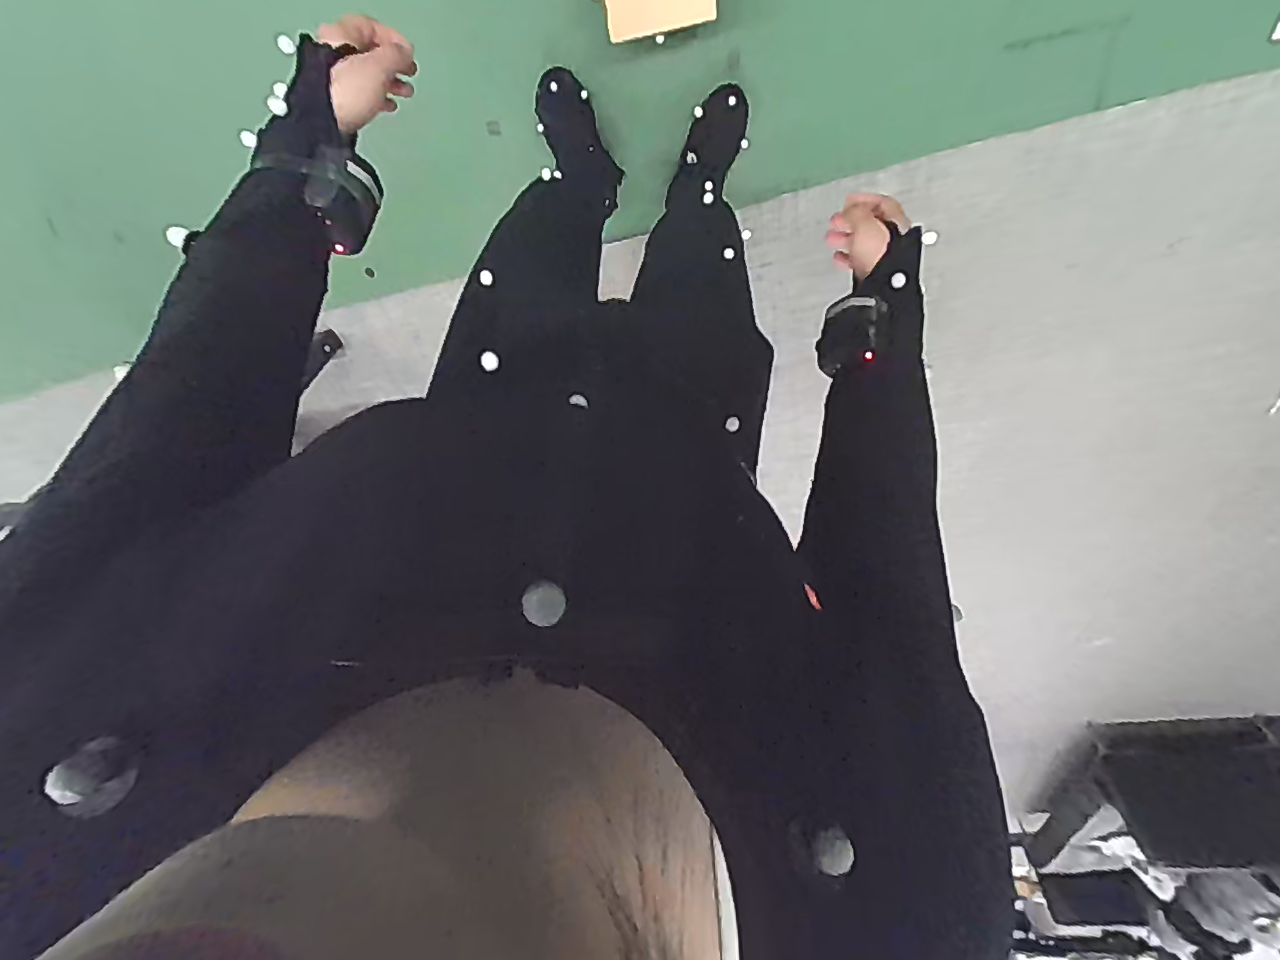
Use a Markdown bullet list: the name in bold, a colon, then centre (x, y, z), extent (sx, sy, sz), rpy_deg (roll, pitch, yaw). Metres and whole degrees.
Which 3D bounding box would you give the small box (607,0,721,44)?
- **small box**: centre (0.031, -0.833, 0.865), extent (0.179, 0.176, 0.168), rpy_deg (-6, 135, 9)
